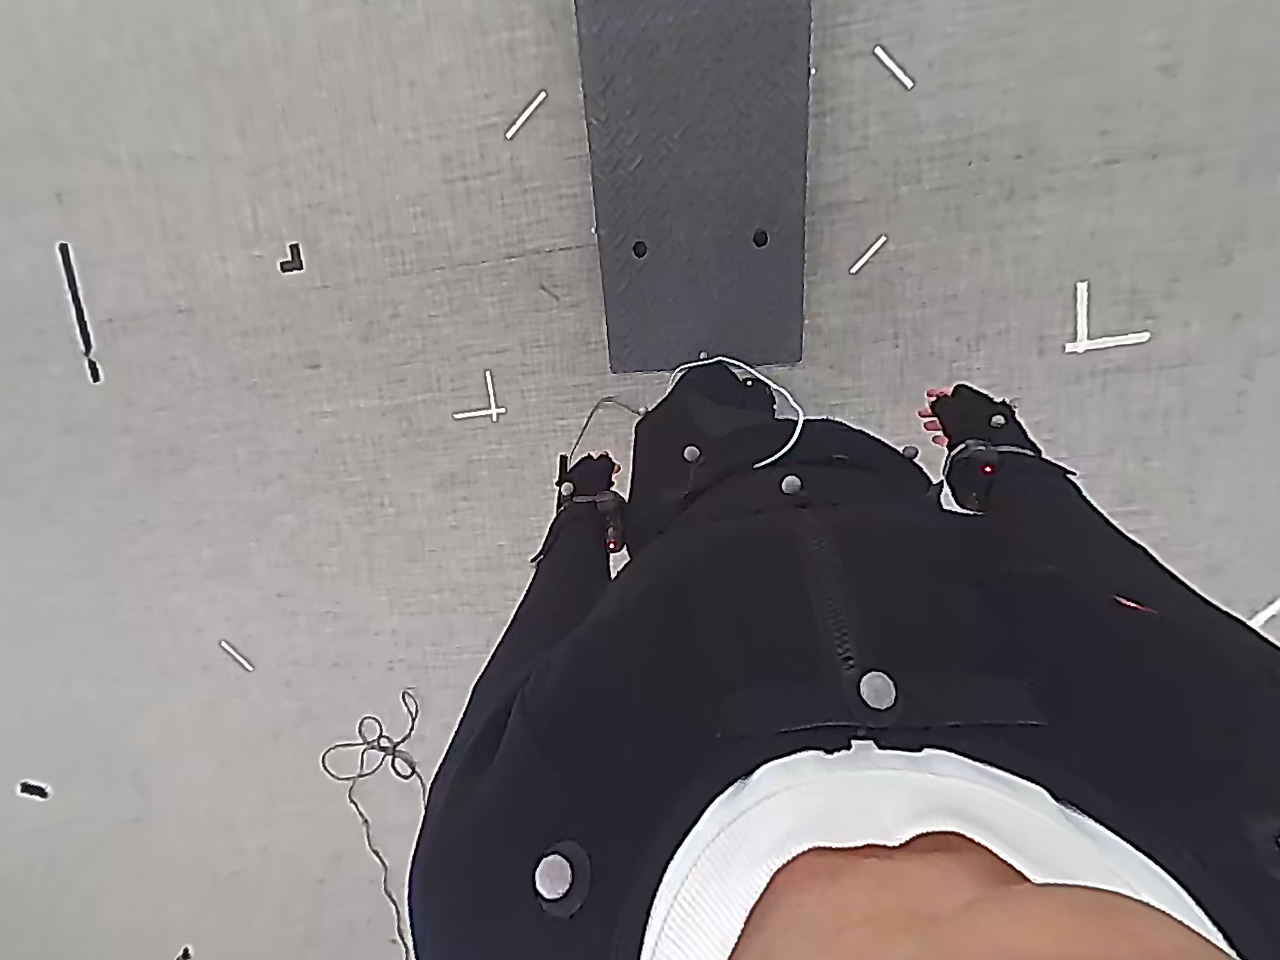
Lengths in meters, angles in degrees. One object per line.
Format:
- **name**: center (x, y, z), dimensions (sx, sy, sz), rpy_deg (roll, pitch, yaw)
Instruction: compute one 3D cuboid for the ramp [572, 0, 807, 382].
- **ramp**: center (0.131, -0.740, 1.241), dimensions (0.509, 0.206, 0.991), rpy_deg (-5, 100, 8)
